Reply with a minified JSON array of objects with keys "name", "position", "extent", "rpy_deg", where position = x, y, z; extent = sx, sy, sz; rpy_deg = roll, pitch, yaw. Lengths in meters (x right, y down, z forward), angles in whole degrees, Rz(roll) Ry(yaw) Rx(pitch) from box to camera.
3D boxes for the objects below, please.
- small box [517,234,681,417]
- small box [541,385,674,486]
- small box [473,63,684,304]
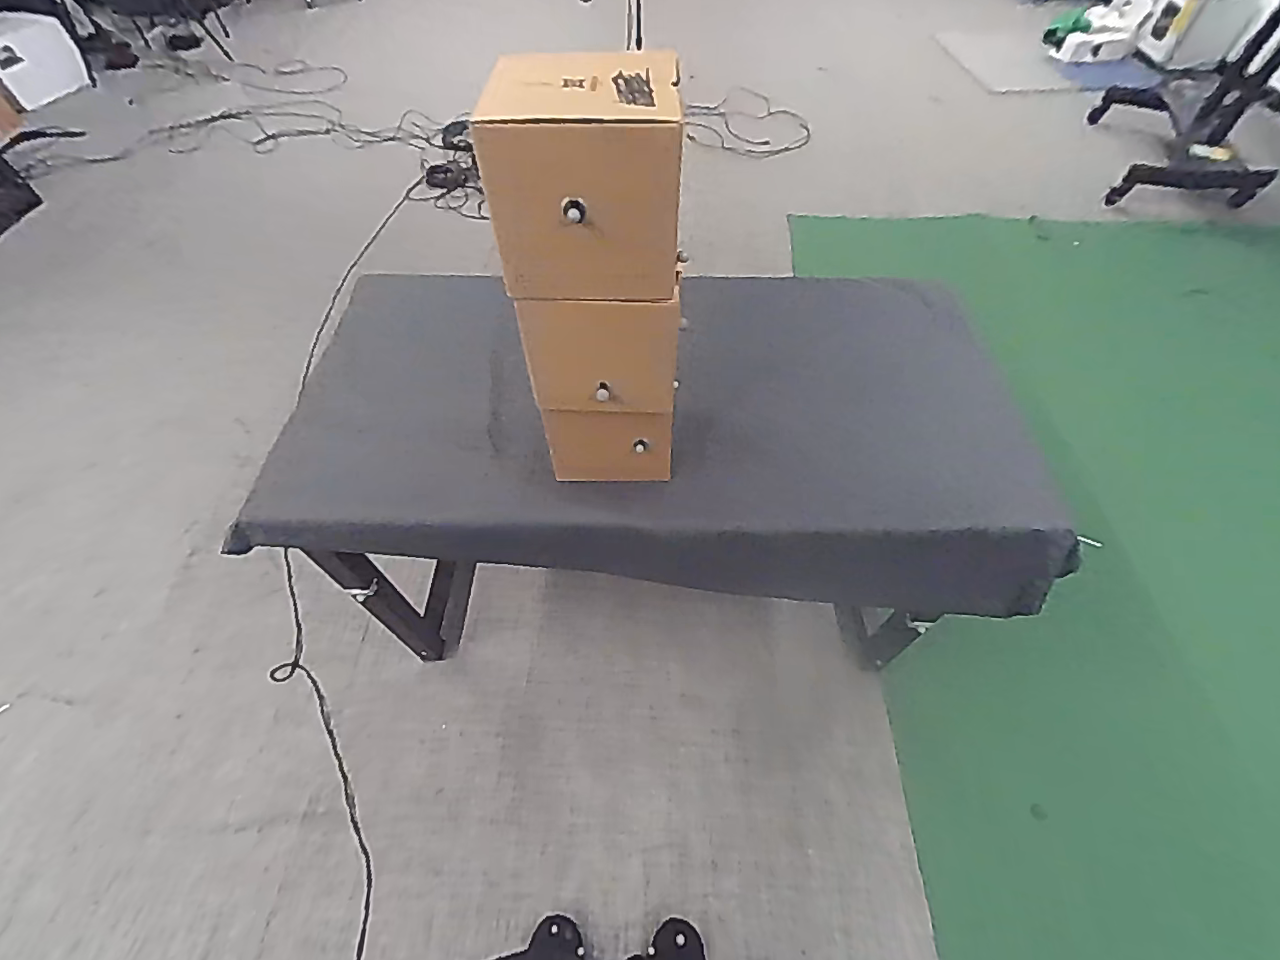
[{"name":"small box","position":[-0.043,-0.195,0.684],"extent":[0.179,0.176,0.168],"rpy_deg":[2,53,1]},{"name":"small box","position":[-0.042,-0.103,0.820],"extent":[0.179,0.176,0.168],"rpy_deg":[-1,52,1]},{"name":"small box","position":[-0.049,-0.296,0.553],"extent":[0.179,0.176,0.168],"rpy_deg":[0,53,1]}]
